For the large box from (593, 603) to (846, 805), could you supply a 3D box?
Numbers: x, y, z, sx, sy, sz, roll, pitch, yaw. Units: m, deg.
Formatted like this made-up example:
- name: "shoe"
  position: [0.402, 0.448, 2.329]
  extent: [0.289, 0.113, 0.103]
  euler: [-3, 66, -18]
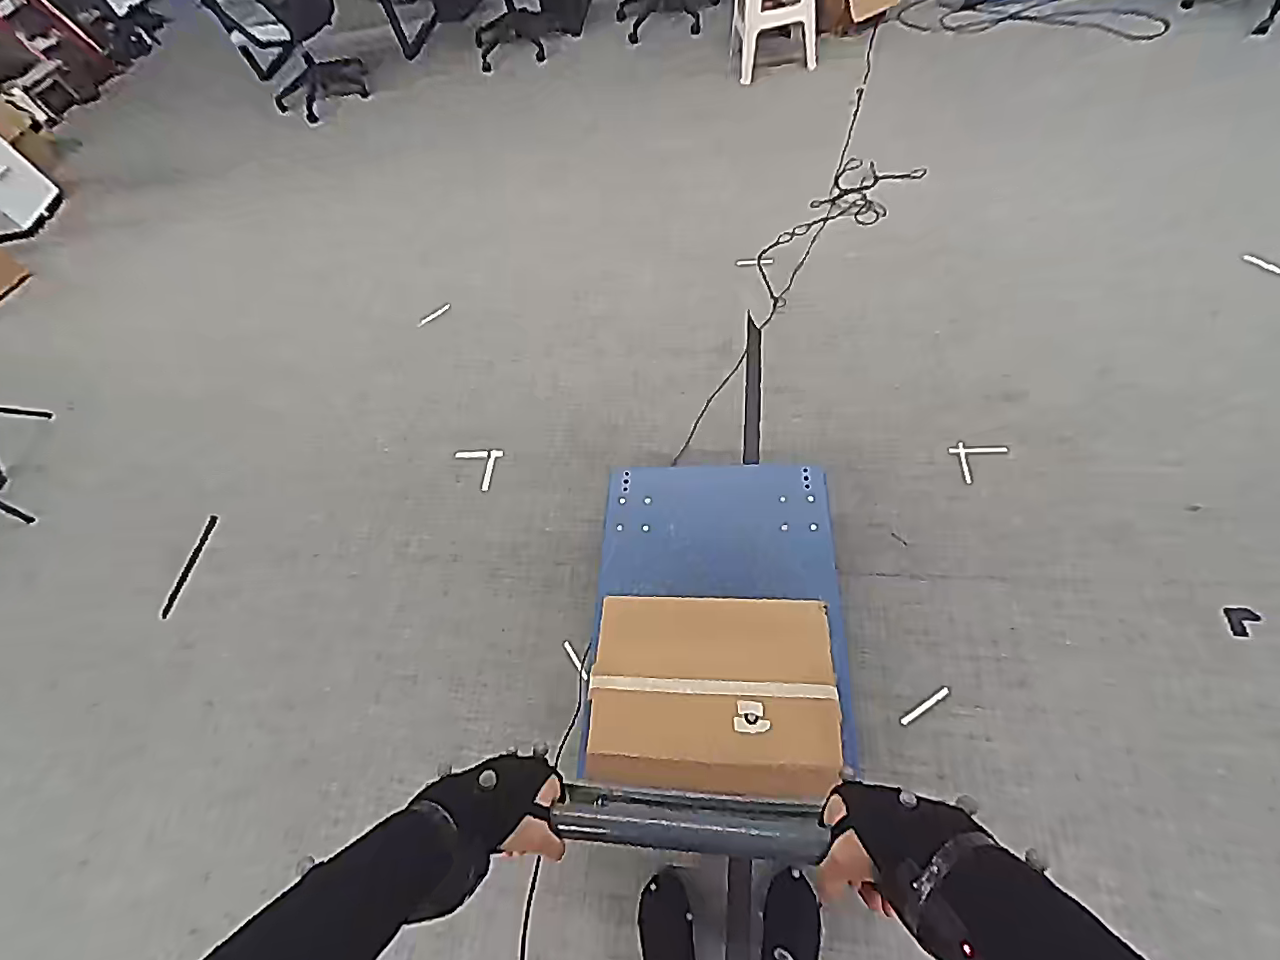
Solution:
- name: "large box"
  position: [0.144, 0.440, 1.049]
  extent: [0.408, 0.320, 0.320]
  euler: [-1, 59, 9]
